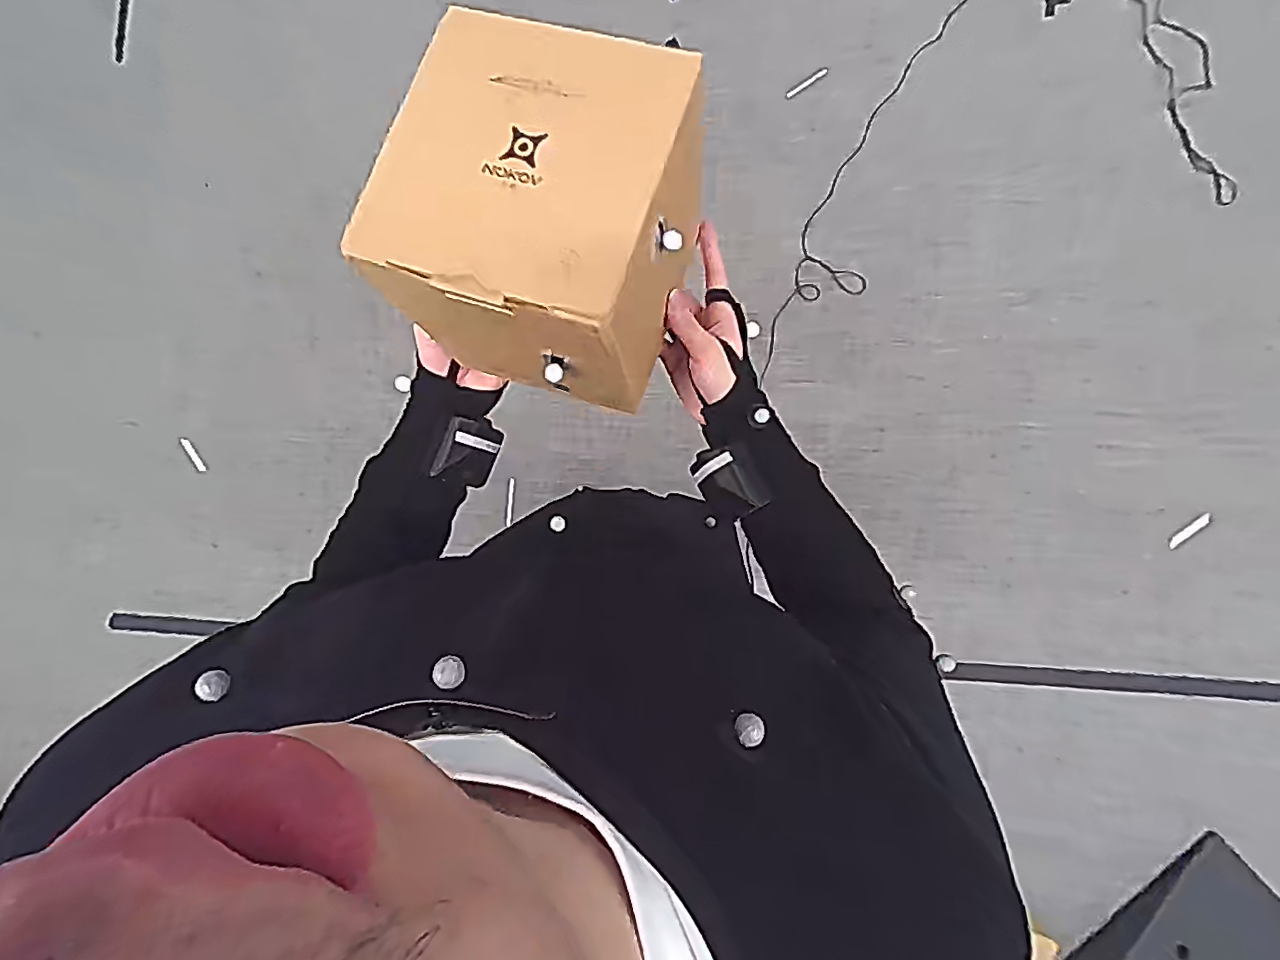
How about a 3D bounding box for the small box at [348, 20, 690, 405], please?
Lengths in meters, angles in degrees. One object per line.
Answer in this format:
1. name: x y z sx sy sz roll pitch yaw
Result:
1. small box: -0.064 -0.175 0.400 0.168 0.176 0.179 18 80 8
